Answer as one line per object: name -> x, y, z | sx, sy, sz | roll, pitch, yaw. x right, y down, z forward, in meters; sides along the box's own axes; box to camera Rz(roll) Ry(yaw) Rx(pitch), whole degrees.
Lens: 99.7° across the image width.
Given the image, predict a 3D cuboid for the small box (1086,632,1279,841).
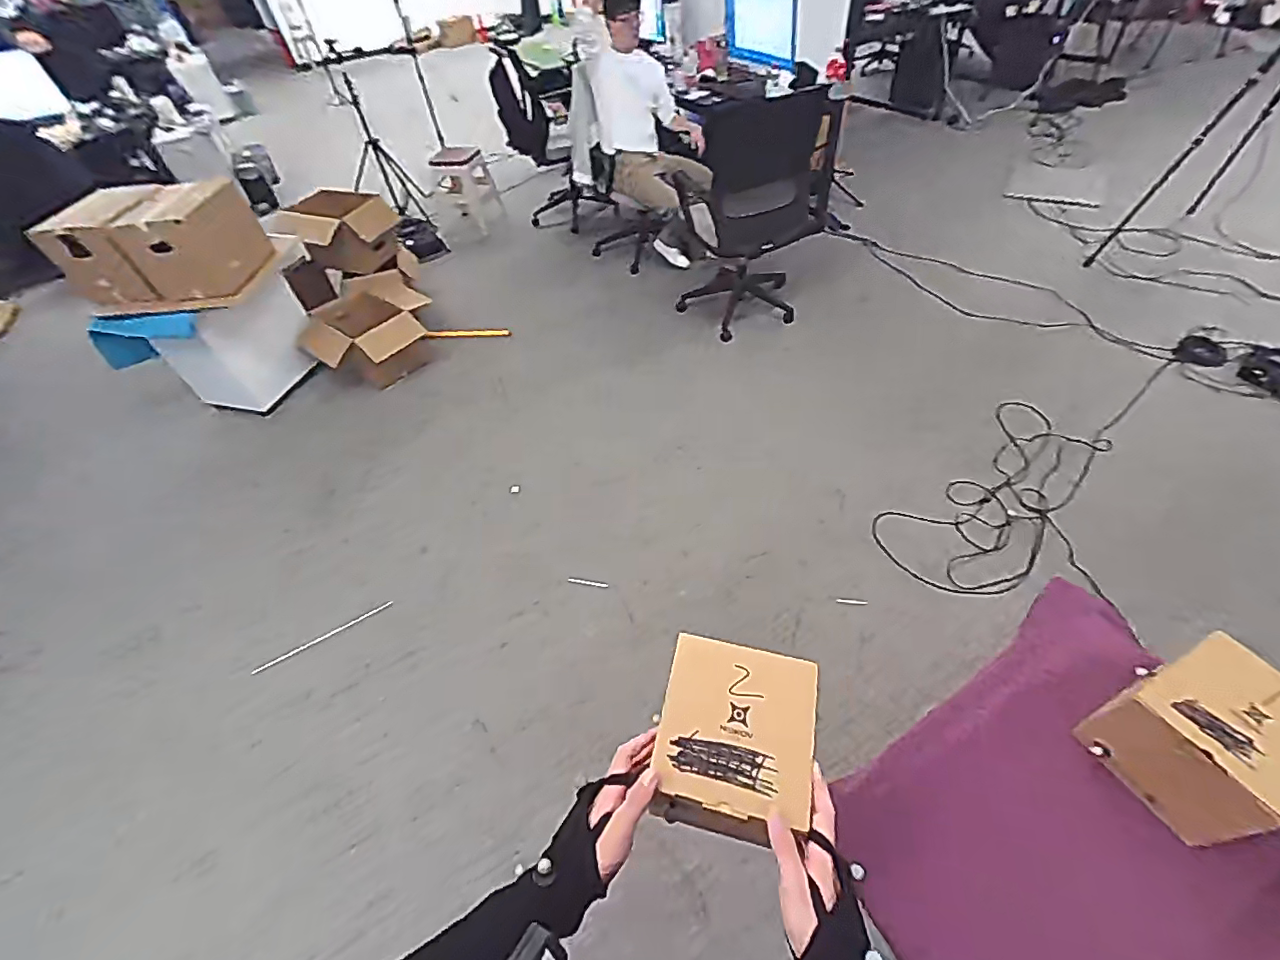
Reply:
small box -> 0.748, 0.342, 0.714 | 0.179, 0.176, 0.168 | -25, 51, -14
